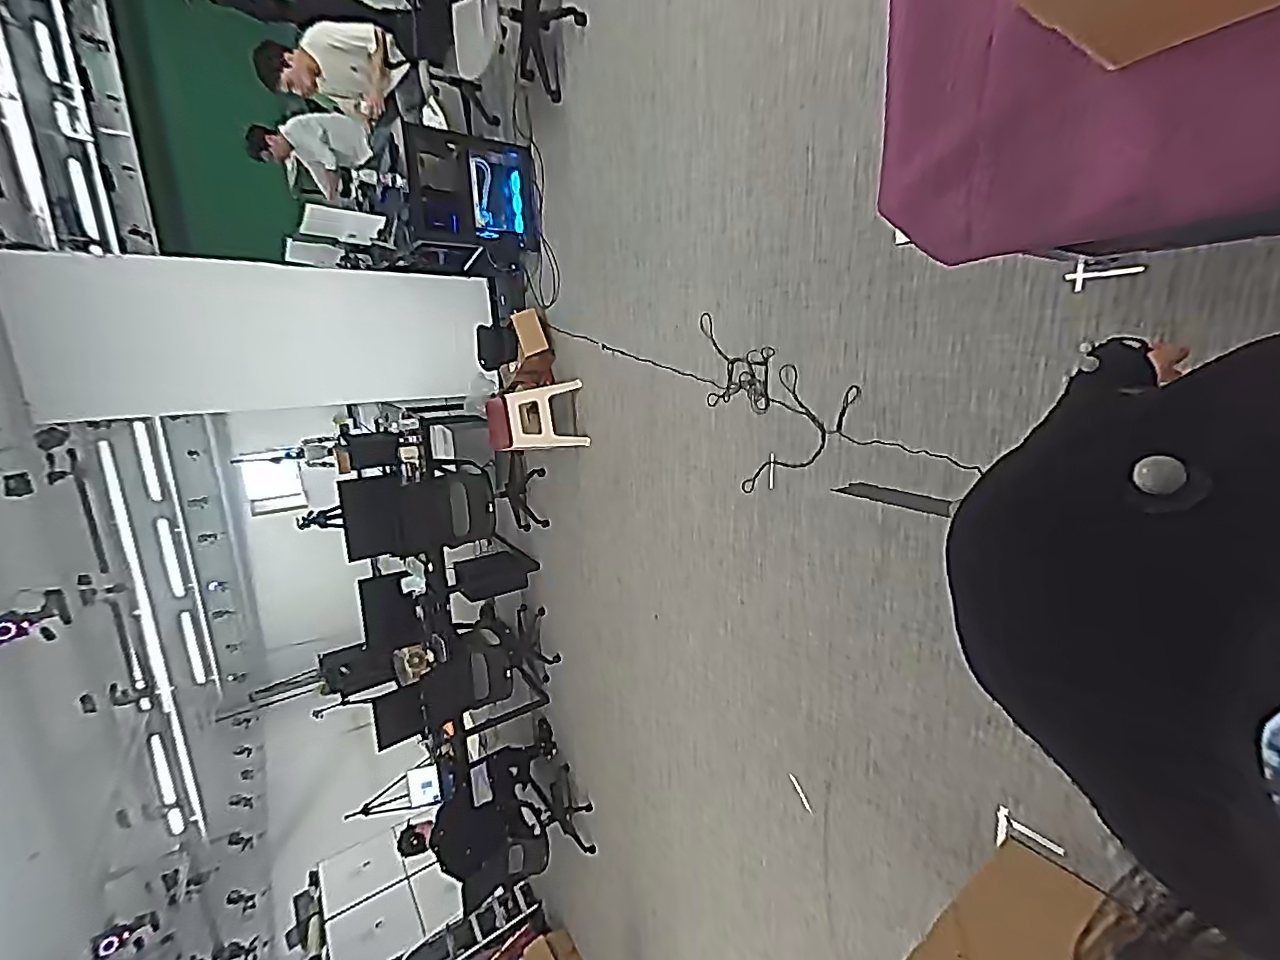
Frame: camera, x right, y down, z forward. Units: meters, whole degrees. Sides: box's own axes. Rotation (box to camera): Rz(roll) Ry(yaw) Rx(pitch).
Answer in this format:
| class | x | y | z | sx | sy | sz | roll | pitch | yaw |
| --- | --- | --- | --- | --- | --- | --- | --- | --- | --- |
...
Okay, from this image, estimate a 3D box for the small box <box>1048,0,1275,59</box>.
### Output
| class | x | y | z | sx | sy | sz | roll | pitch | yaw |
| --- | --- | --- | --- | --- | --- | --- | --- | --- | --- |
| small box | 0.489 | -0.508 | 0.461 | 0.179 | 0.176 | 0.168 | 11 | 108 | 54 |
